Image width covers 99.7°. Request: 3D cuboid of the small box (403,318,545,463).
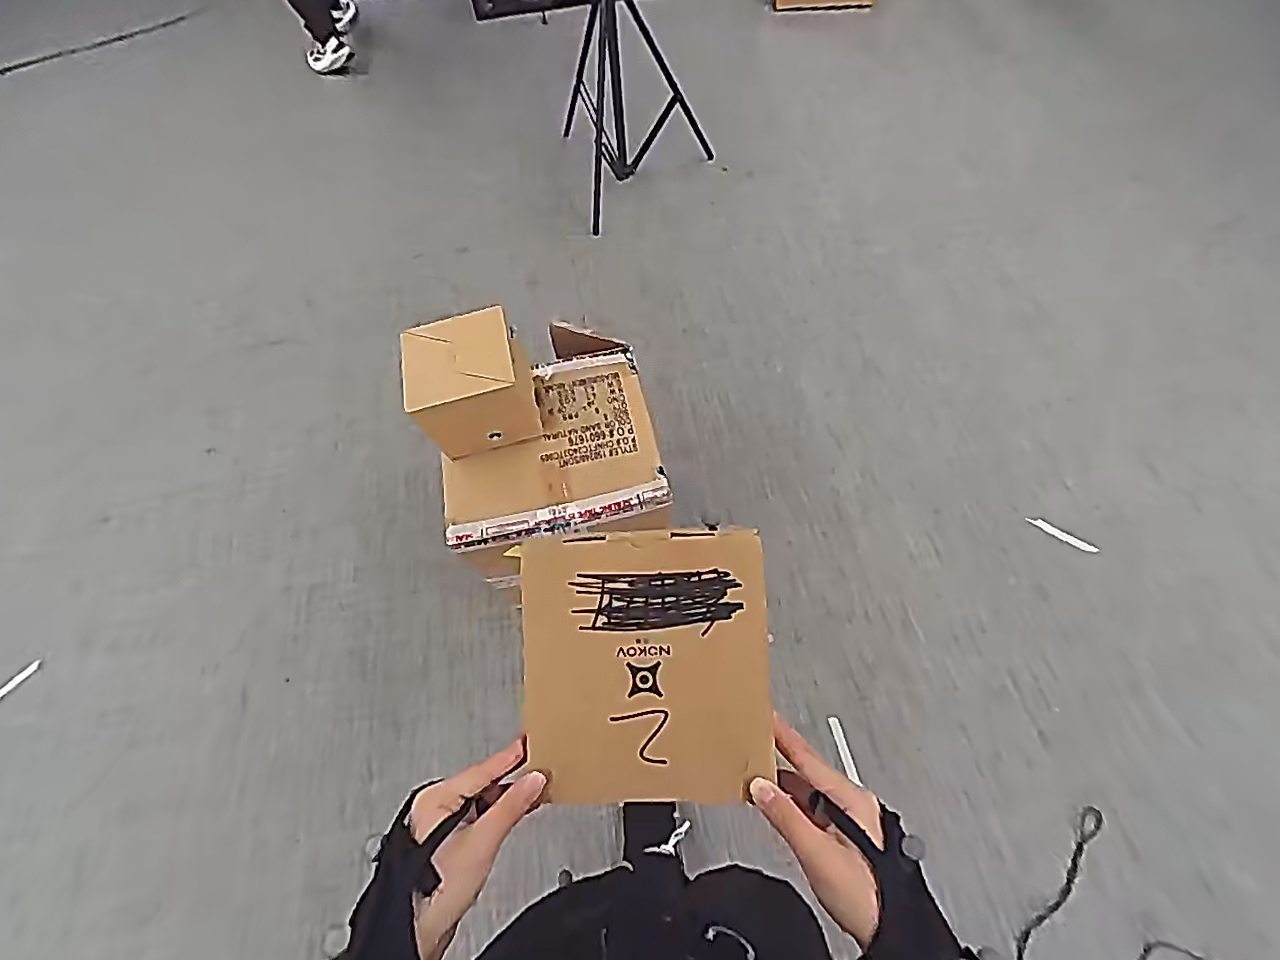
[{"bbox_3d":[-0.282,-0.154,0.937,0.179,0.176,0.168,-14,65,-1],"label":"small box"}]
